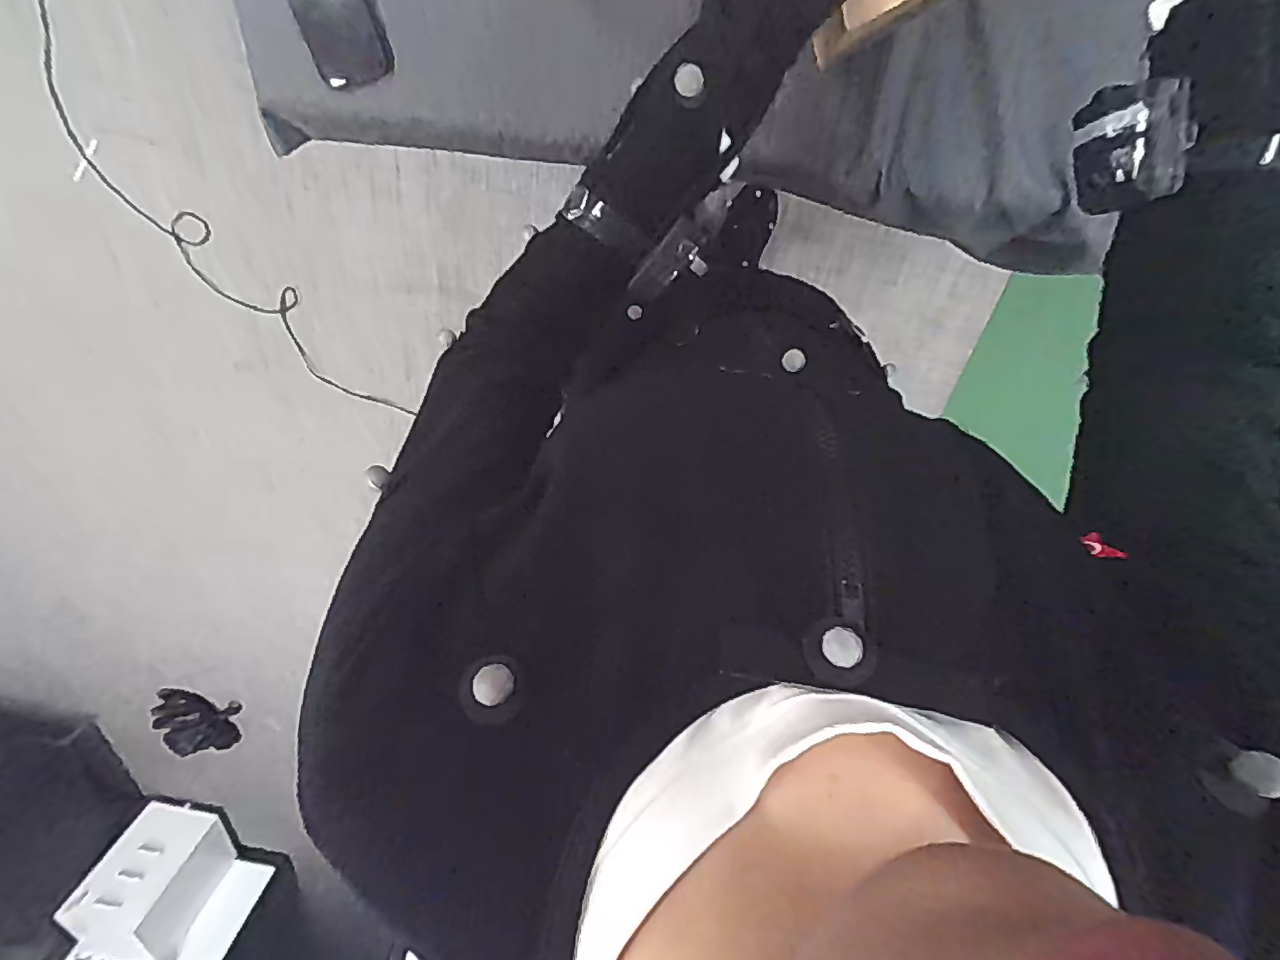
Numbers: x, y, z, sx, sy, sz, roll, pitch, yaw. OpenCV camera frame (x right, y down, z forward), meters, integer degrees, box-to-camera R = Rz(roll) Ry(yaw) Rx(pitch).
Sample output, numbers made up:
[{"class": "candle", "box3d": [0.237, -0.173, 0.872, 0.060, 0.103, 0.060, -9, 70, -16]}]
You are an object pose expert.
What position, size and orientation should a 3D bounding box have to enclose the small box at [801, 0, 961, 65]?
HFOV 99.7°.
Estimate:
[{"class": "small box", "box3d": [0.192, -0.419, 0.357, 0.179, 0.176, 0.168, -18, 114, 21]}]
